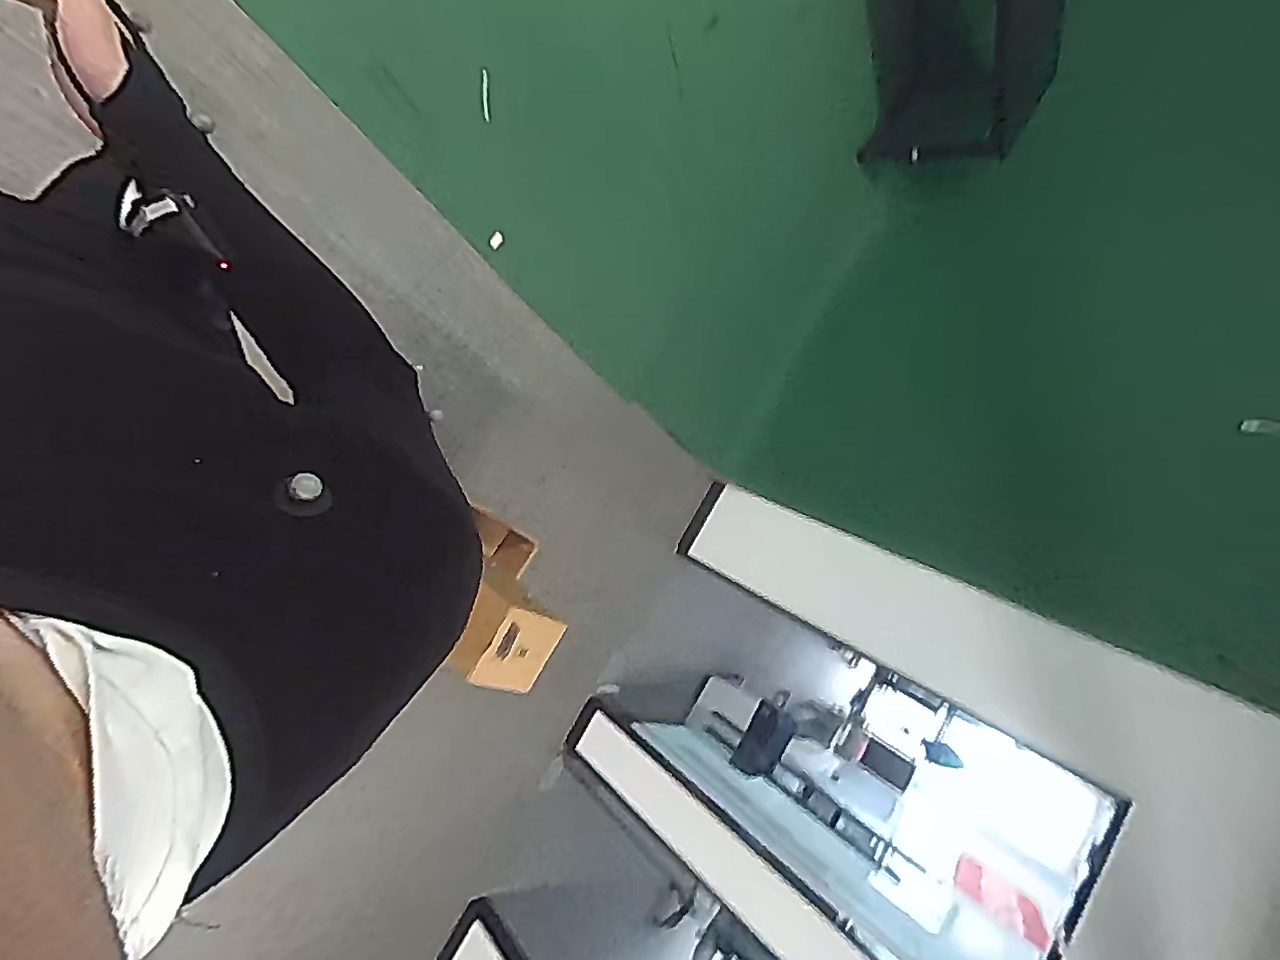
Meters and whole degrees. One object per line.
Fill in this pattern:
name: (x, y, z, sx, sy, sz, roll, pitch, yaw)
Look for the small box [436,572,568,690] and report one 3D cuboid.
small box: (-0.295, 0.314, 1.142, 0.168, 0.176, 0.179, -58, 139, -6)
